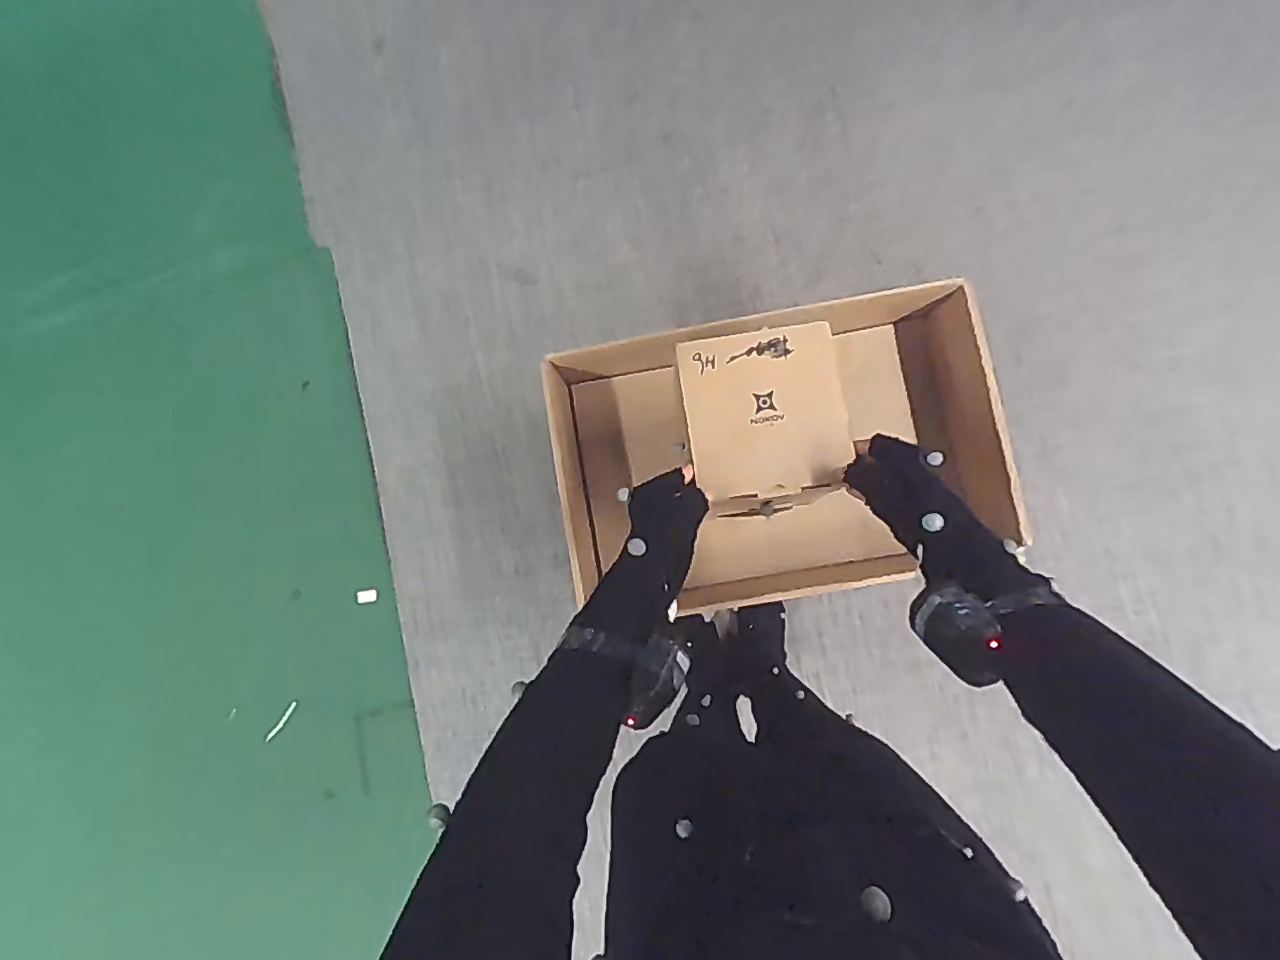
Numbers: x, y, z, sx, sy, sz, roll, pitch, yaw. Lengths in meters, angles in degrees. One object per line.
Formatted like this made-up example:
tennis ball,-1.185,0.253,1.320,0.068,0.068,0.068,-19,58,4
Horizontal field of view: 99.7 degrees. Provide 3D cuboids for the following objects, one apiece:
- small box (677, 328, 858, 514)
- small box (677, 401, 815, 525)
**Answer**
small box,0.137,-0.055,0.640,0.168,0.176,0.179,-8,82,2
small box,0.147,-0.028,0.806,0.168,0.176,0.179,-8,83,1
